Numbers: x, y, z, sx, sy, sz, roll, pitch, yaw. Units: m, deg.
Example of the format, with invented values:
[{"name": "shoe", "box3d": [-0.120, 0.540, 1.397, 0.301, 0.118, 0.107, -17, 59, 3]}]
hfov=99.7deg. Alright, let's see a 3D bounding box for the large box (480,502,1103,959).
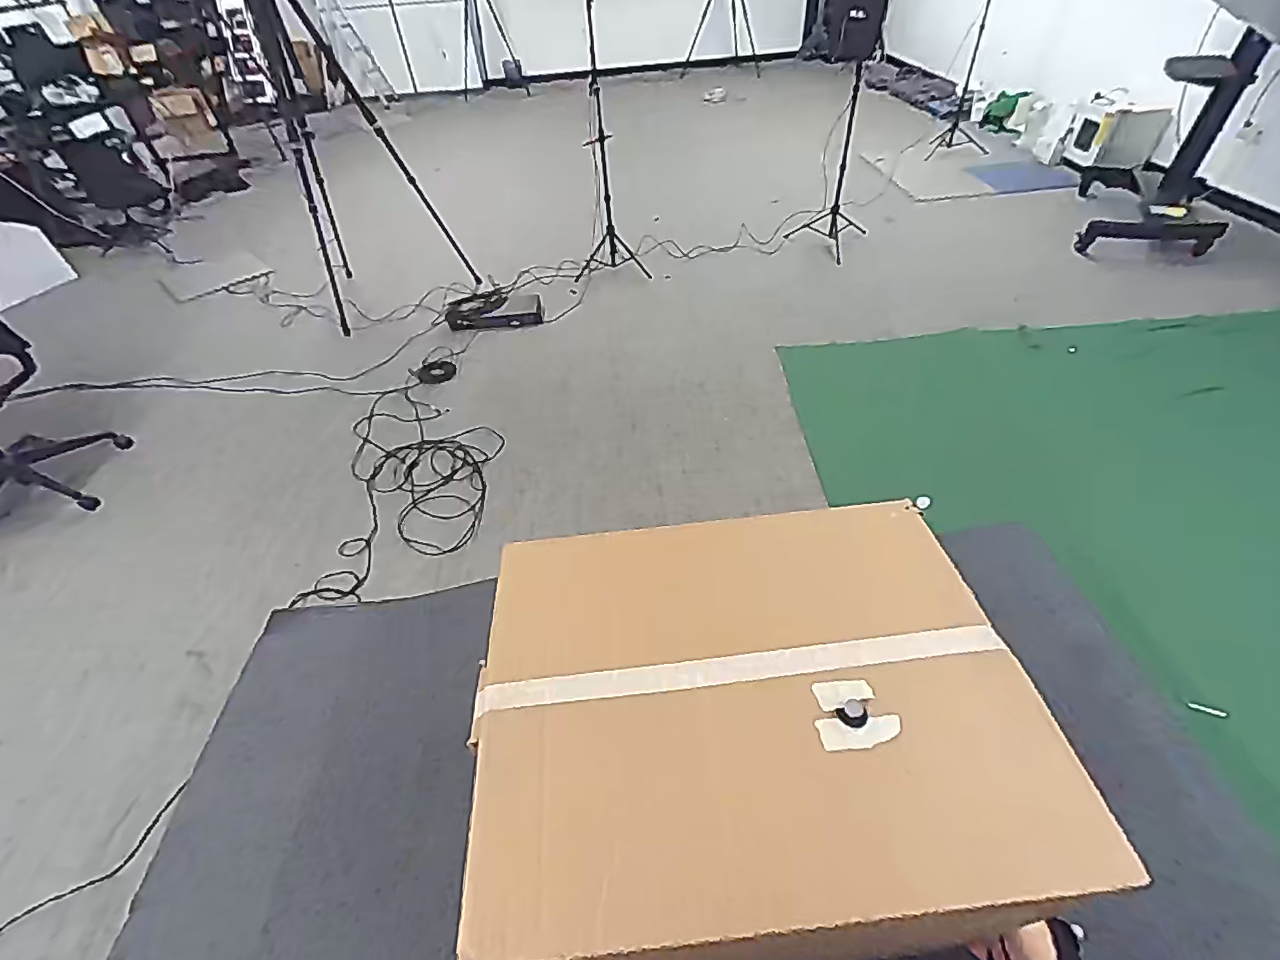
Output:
[{"name": "large box", "box3d": [0.090, 0.256, 0.541, 0.408, 0.320, 0.320, -6, 45, -2]}]
